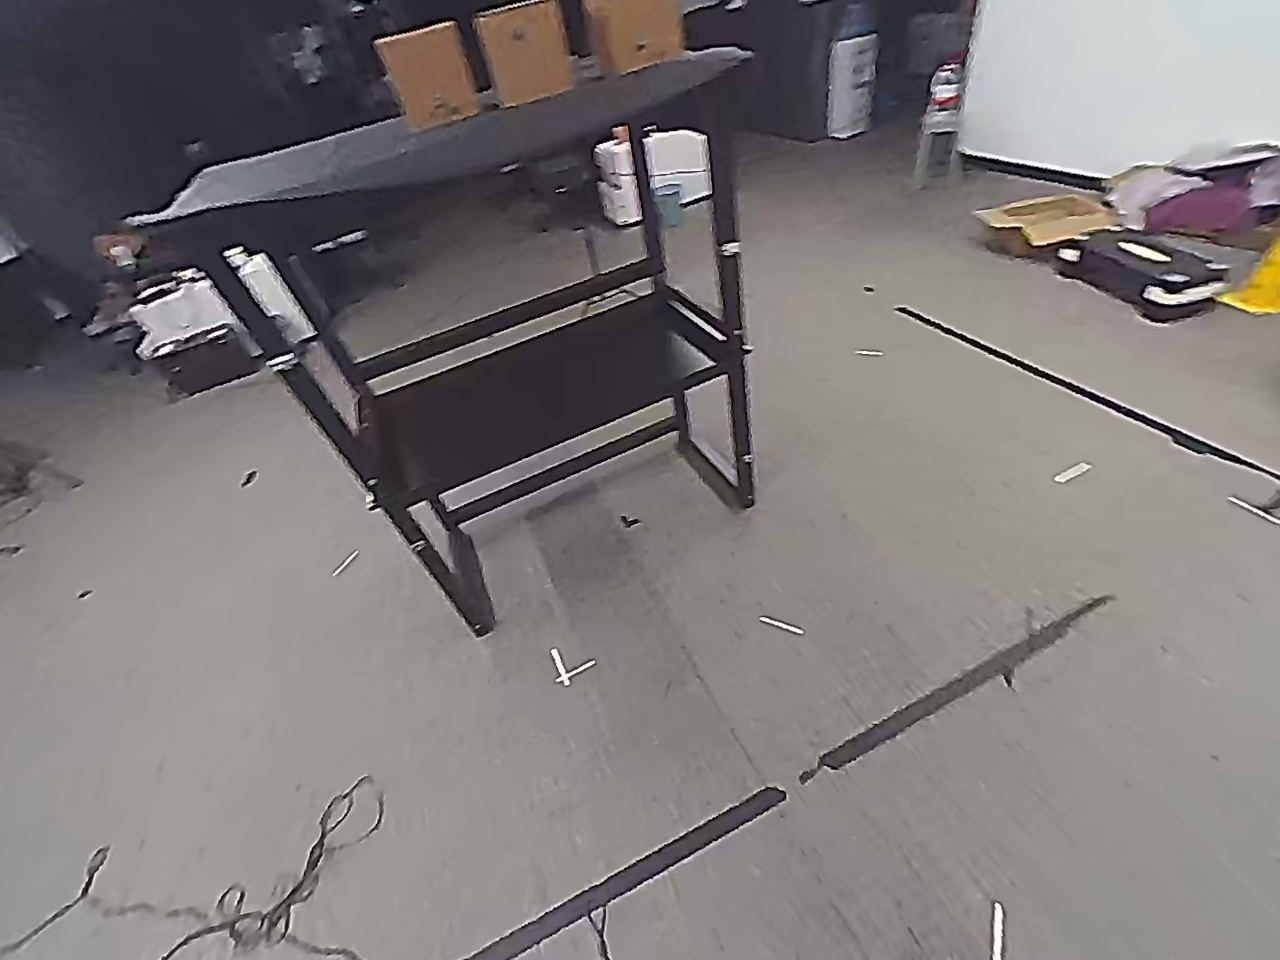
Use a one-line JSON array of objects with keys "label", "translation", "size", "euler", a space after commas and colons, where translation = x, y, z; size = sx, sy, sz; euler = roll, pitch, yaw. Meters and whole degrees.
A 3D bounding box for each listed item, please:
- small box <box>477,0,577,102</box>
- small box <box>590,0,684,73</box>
[{"label": "small box", "translation": [-0.253, -0.991, 1.239], "size": [0.179, 0.176, 0.168], "euler": [-13, 43, 1]}, {"label": "small box", "translation": [-0.011, -1.059, 1.244], "size": [0.168, 0.176, 0.179], "euler": [-21, 43, -6]}]
